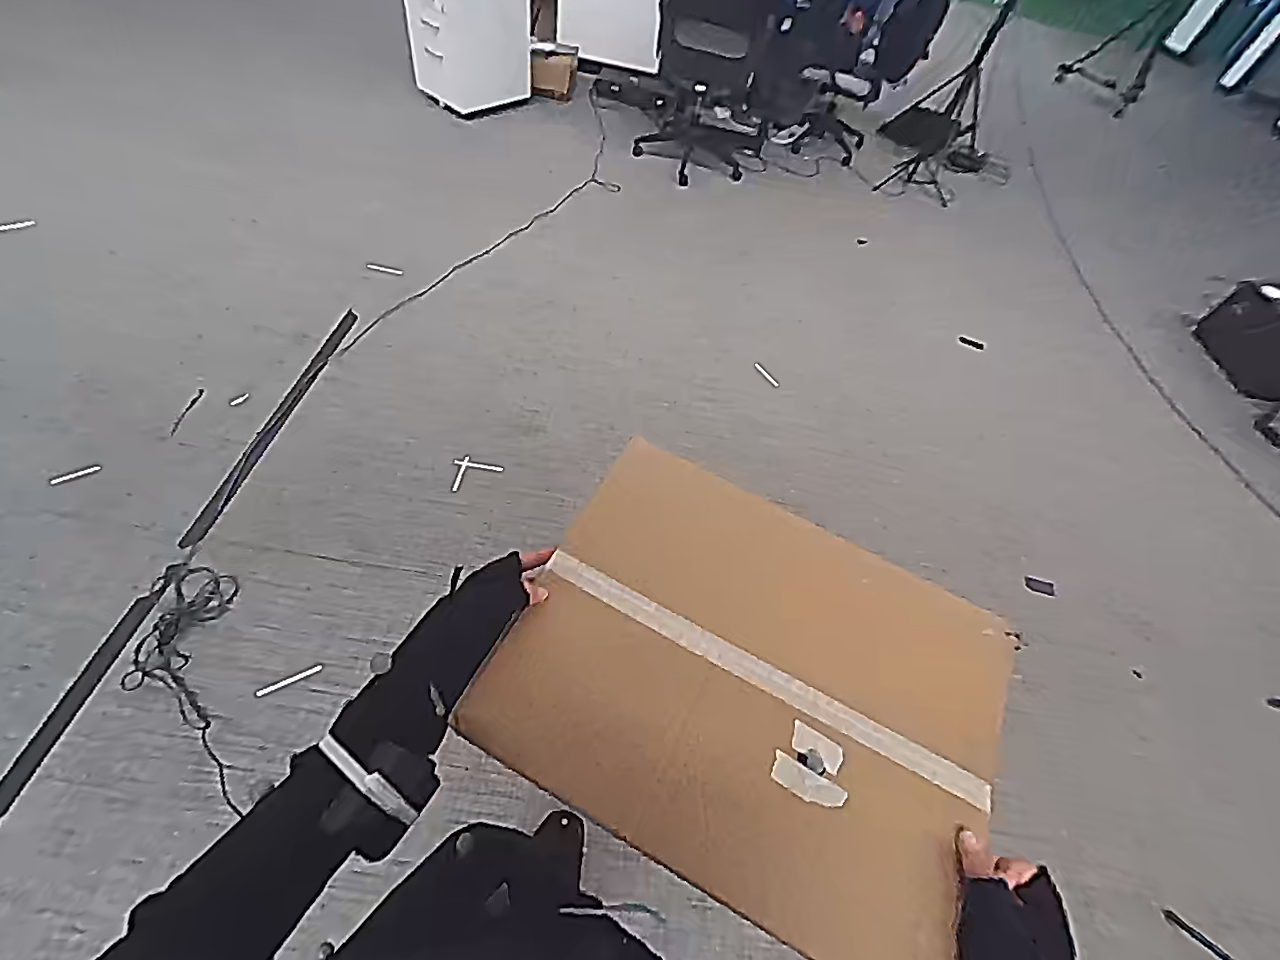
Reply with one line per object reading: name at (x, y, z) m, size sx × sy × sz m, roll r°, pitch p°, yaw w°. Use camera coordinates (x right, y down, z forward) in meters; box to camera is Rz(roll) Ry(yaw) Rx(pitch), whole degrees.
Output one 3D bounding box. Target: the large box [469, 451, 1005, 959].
large box at (0.088, 0.239, 0.603) m, size 0.408 × 0.320 × 0.320 m, roll 28°, pitch 64°, yaw 9°
